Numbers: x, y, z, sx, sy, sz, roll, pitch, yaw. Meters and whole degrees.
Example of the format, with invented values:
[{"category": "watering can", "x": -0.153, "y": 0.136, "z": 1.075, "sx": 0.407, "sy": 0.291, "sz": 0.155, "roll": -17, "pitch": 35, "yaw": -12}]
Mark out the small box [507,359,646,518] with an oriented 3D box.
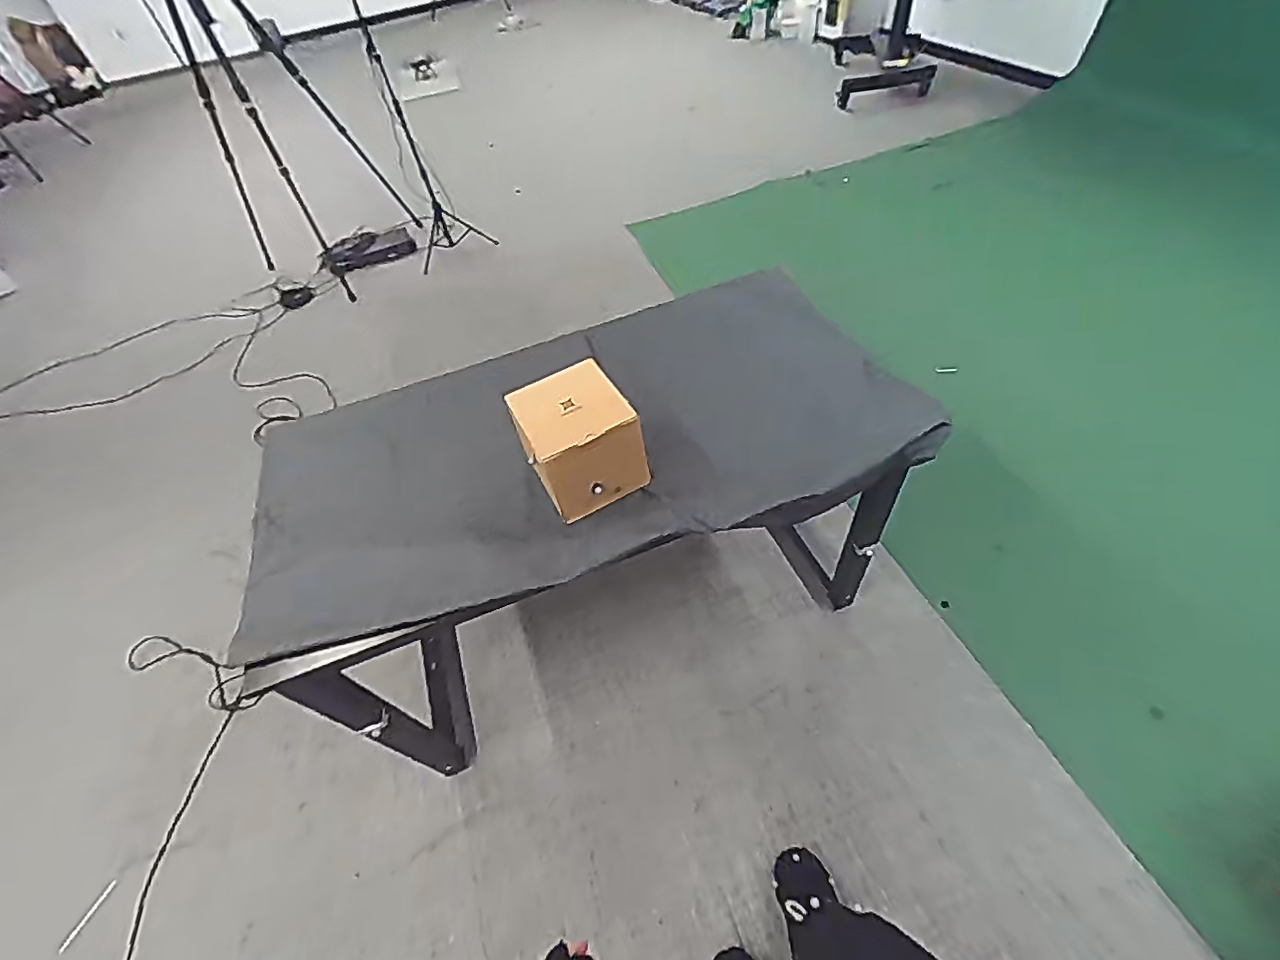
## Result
[{"category": "small box", "x": -0.103, "y": -0.068, "z": 0.922, "sx": 0.168, "sy": 0.176, "sz": 0.179, "roll": -27, "pitch": 53, "yaw": -13}]
